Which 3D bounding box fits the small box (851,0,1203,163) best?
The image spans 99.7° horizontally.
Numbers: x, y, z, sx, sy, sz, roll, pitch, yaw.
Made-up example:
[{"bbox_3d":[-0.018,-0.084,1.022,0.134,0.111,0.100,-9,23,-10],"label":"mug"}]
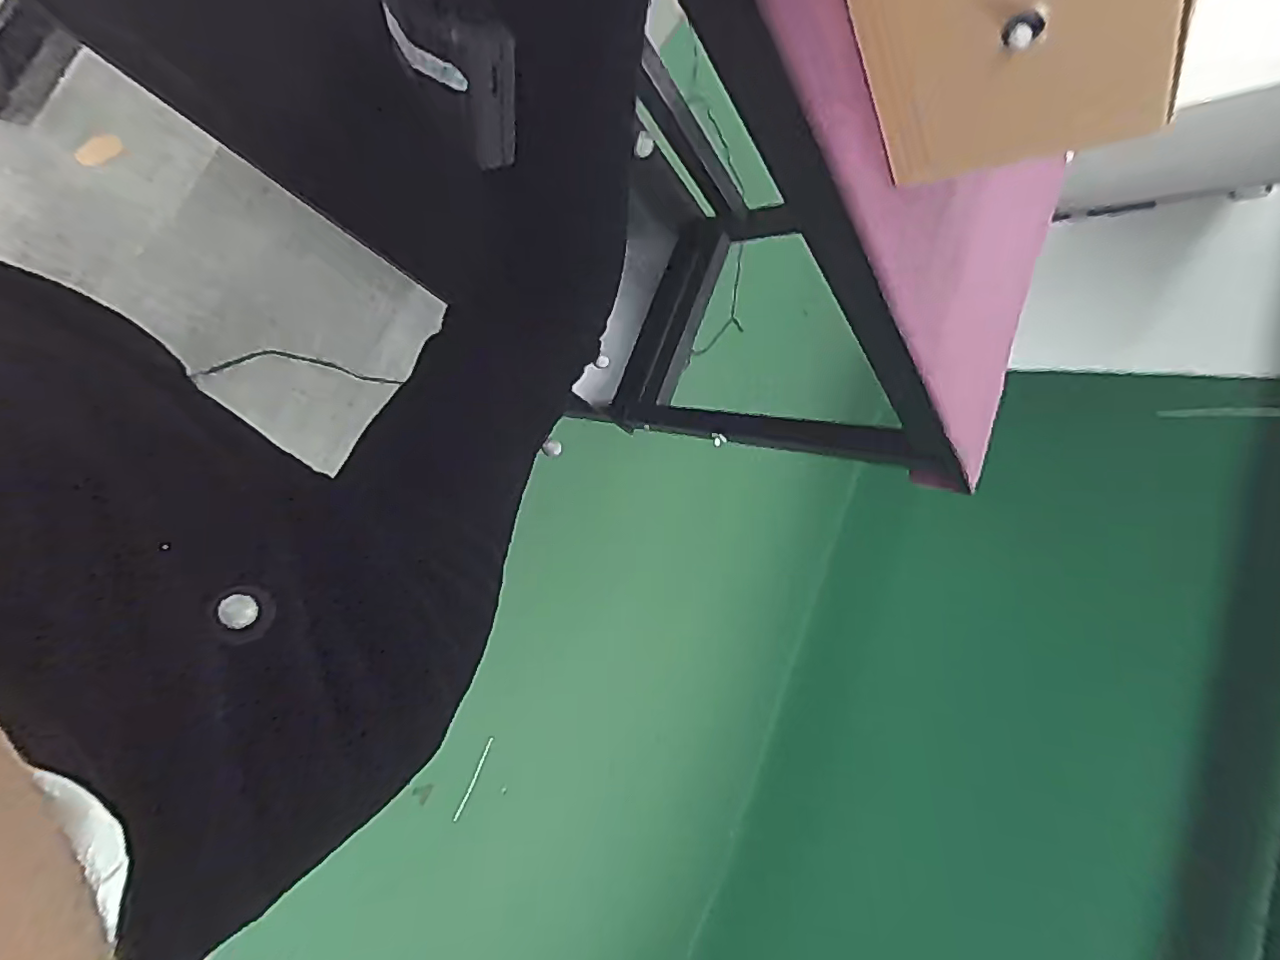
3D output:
[{"bbox_3d":[0.254,-0.340,0.349,0.179,0.176,0.168,39,70,-44],"label":"small box"}]
